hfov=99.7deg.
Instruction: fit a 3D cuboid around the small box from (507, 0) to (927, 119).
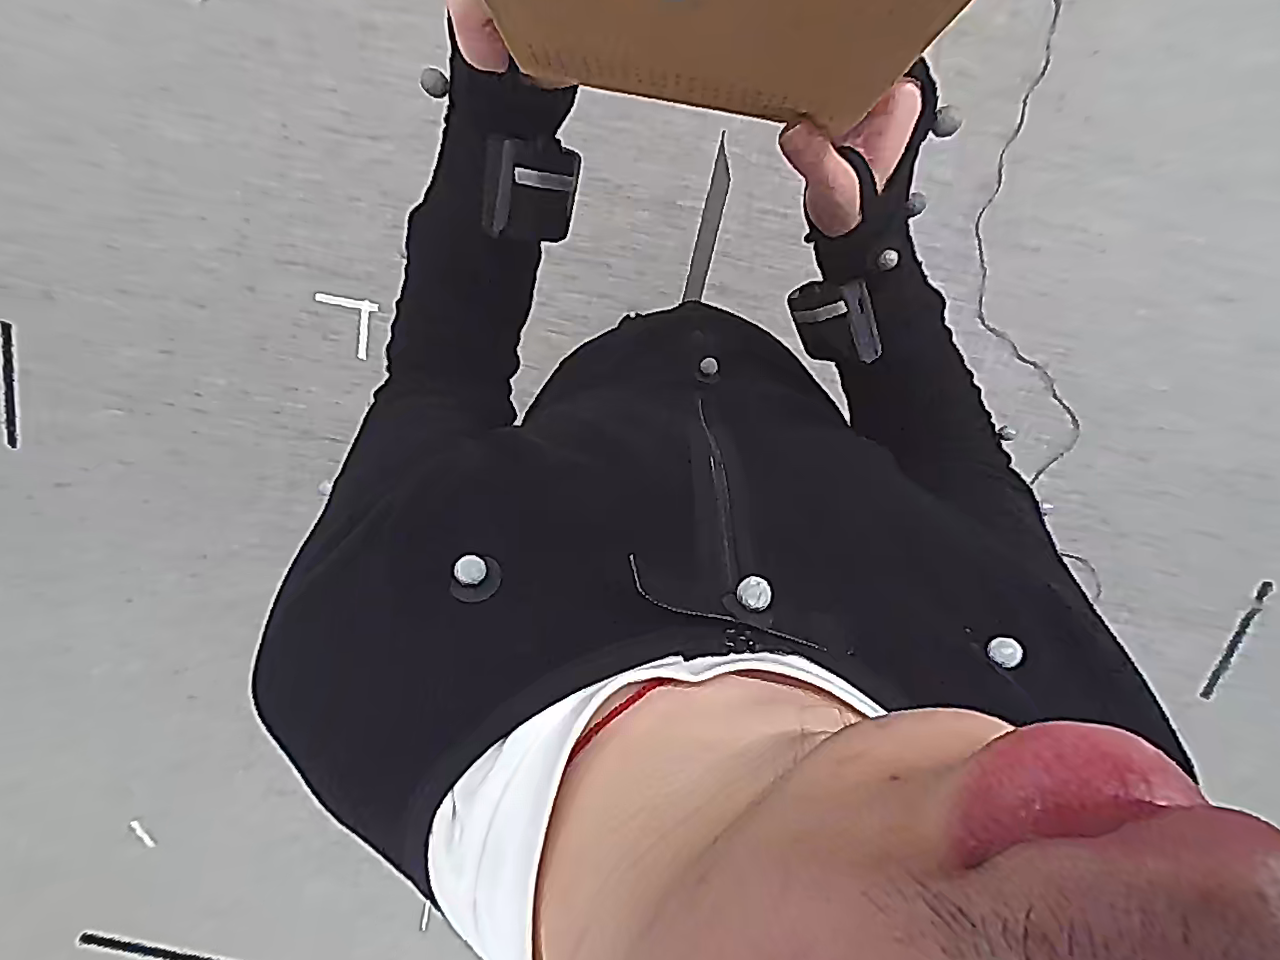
[{"bbox_3d":[0.035,-0.258,0.191,0.179,0.176,0.168,10,107,-2],"label":"small box"}]
